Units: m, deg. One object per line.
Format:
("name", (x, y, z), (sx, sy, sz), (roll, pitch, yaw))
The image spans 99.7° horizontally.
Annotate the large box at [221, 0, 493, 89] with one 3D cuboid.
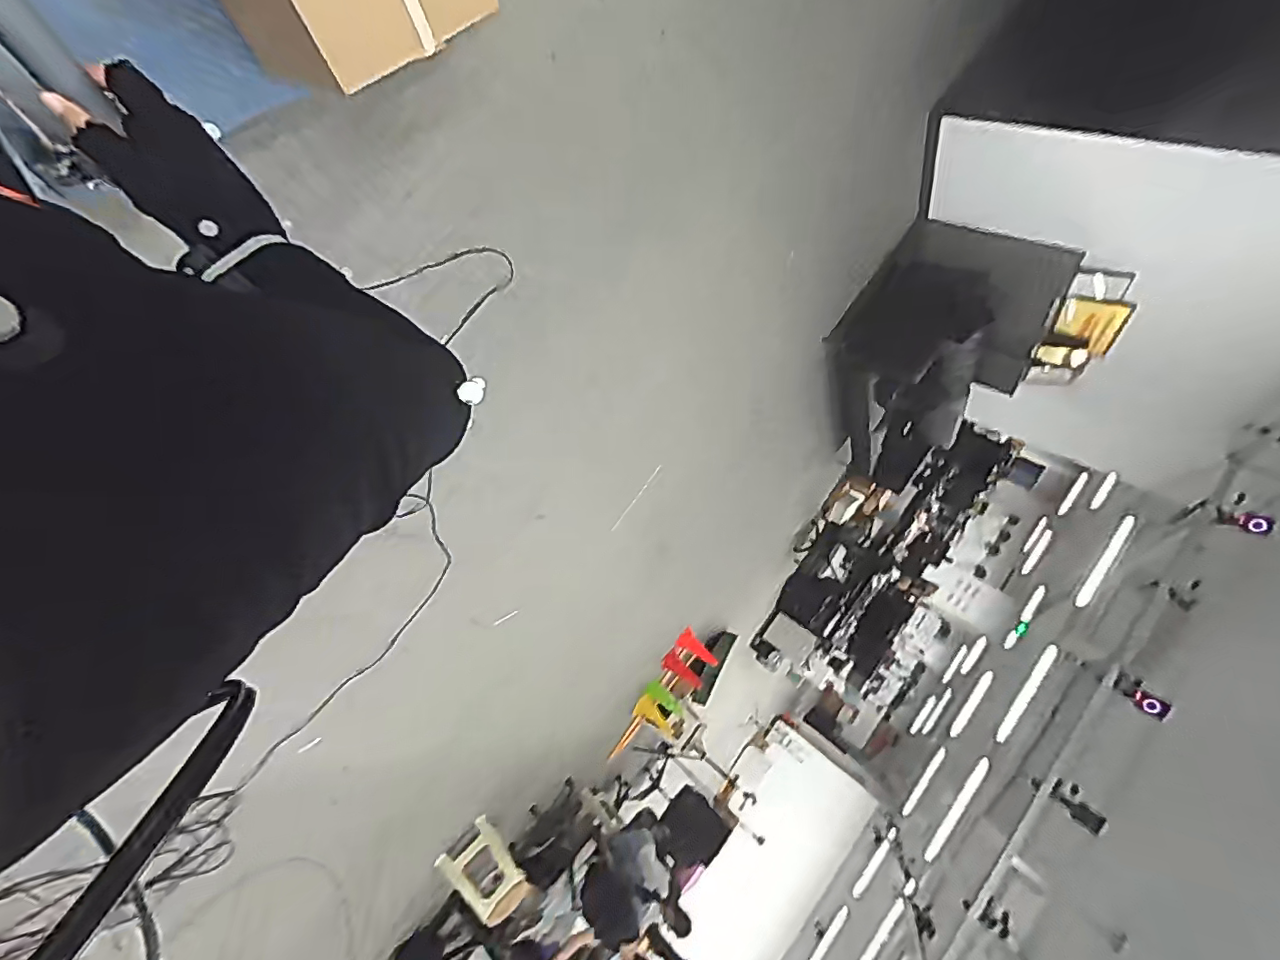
("large box", (-0.486, -0.851, 0.754), (0.320, 0.320, 0.408), (-46, 146, -18))
